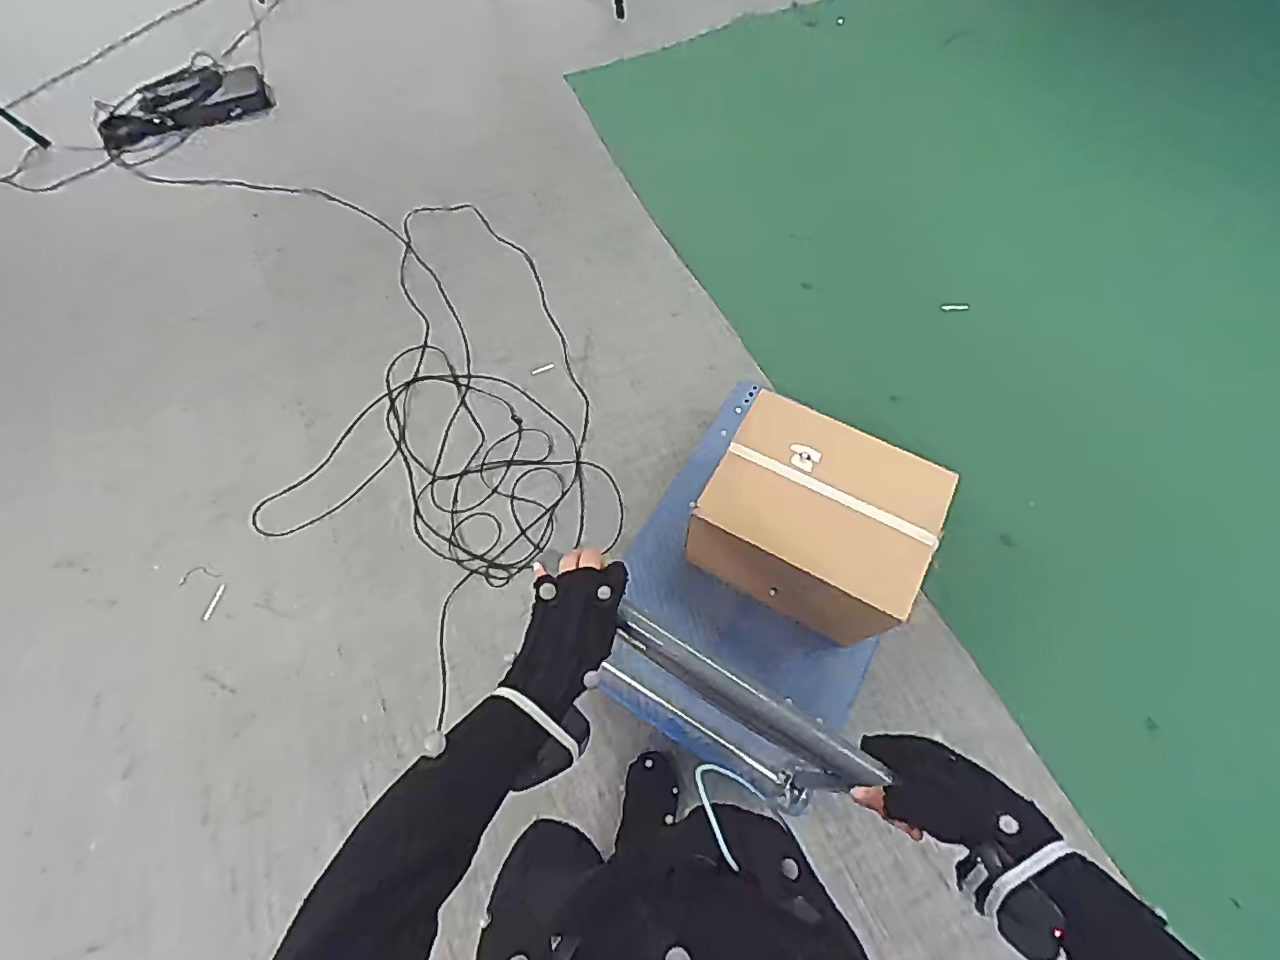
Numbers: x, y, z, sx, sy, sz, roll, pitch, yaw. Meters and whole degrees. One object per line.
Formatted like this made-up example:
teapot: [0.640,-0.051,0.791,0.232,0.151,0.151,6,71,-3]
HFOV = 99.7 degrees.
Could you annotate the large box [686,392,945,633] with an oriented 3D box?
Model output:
large box: [0.345,0.082,1.153,0.408,0.320,0.320,26,69,13]
